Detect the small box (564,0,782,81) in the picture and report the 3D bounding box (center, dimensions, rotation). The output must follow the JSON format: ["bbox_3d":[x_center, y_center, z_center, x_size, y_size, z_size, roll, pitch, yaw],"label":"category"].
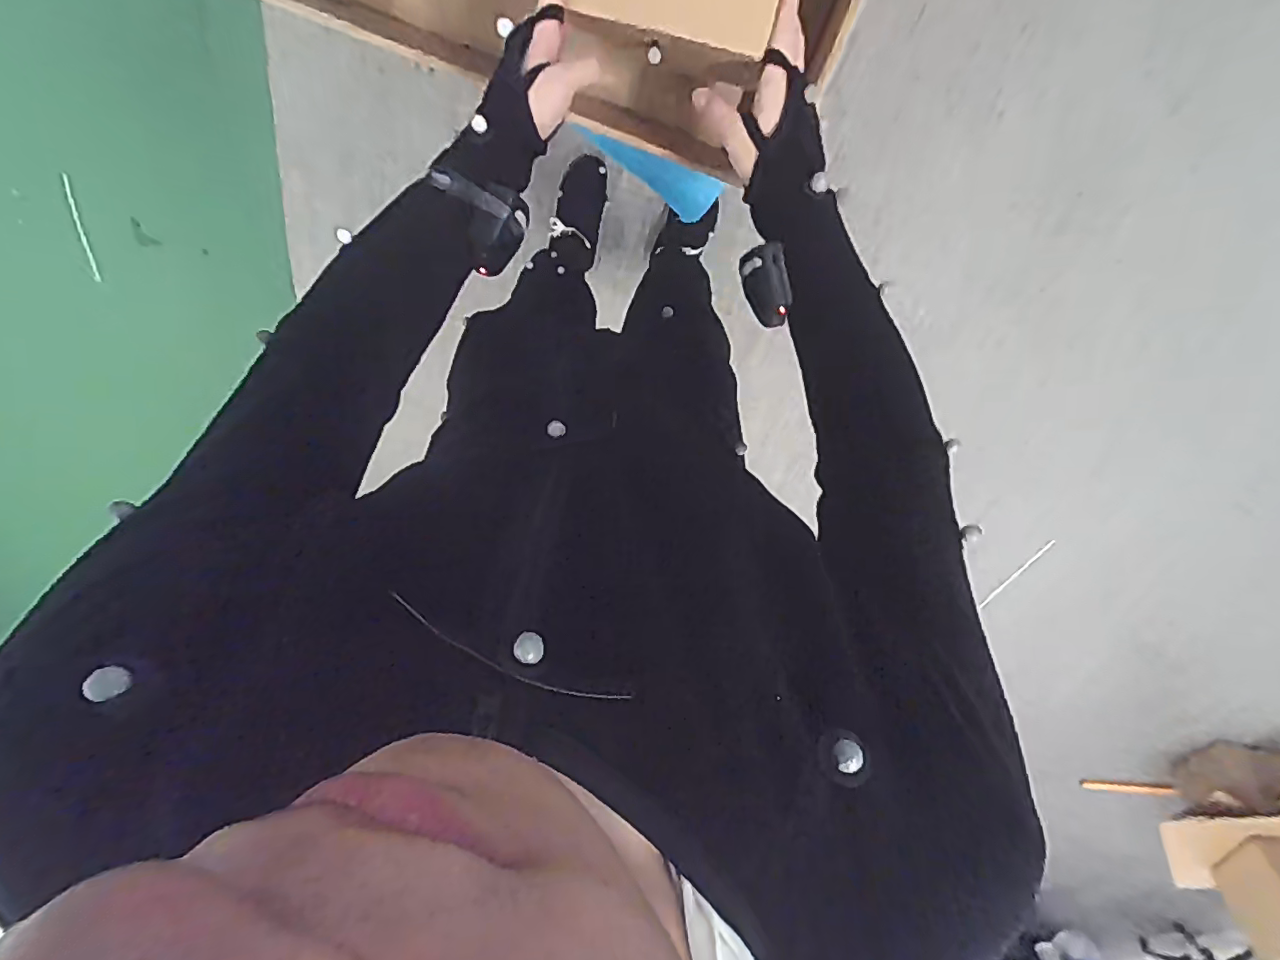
[{"bbox_3d":[0.048,-0.474,0.472,0.179,0.176,0.168,14,121,0],"label":"small box"}]
